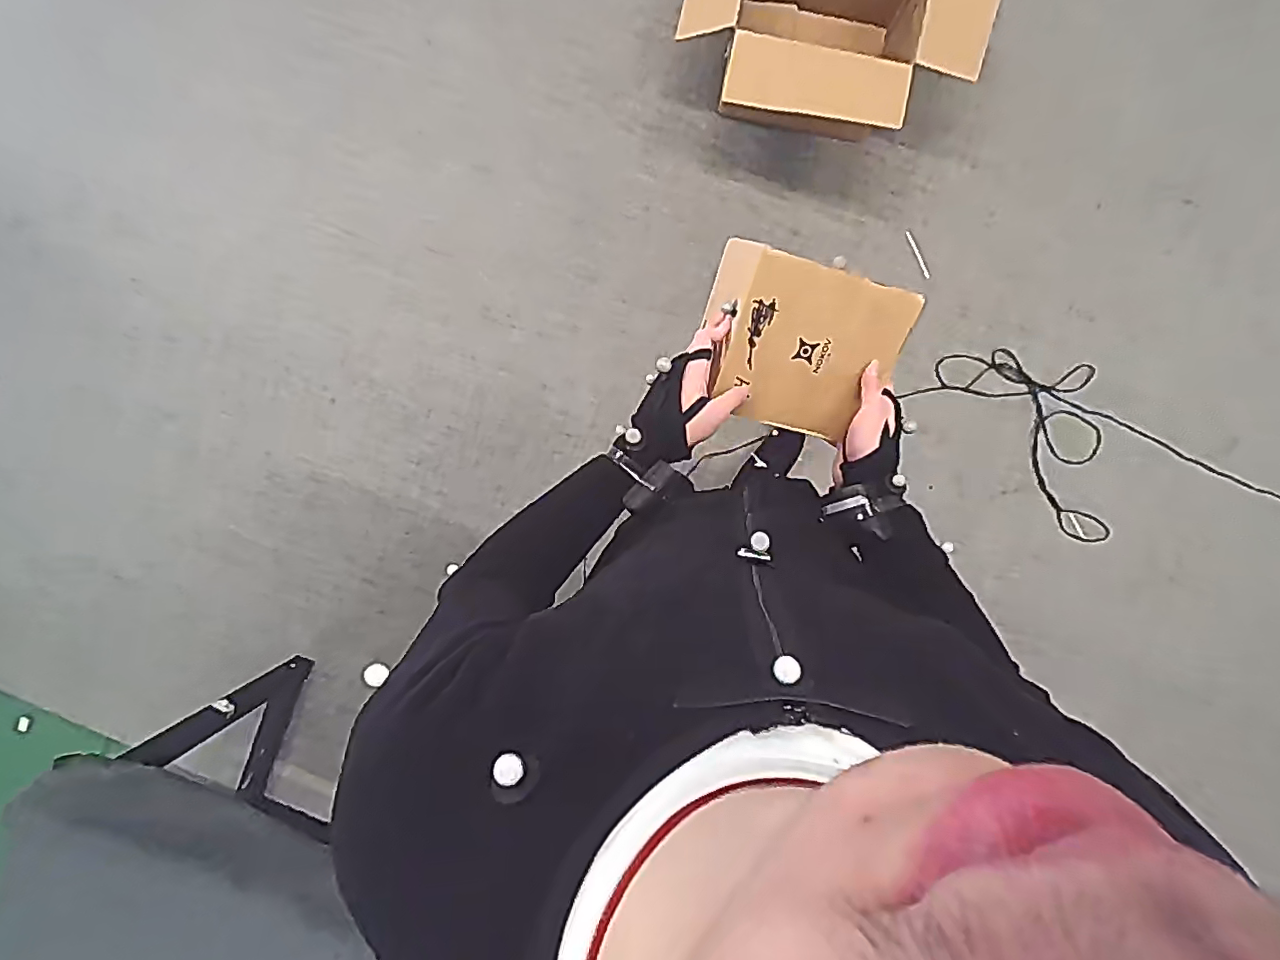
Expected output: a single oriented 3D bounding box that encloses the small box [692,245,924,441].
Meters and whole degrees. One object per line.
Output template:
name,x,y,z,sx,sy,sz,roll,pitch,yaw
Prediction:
small box,0.175,-0.166,0.627,0.179,0.176,0.168,13,113,-10
